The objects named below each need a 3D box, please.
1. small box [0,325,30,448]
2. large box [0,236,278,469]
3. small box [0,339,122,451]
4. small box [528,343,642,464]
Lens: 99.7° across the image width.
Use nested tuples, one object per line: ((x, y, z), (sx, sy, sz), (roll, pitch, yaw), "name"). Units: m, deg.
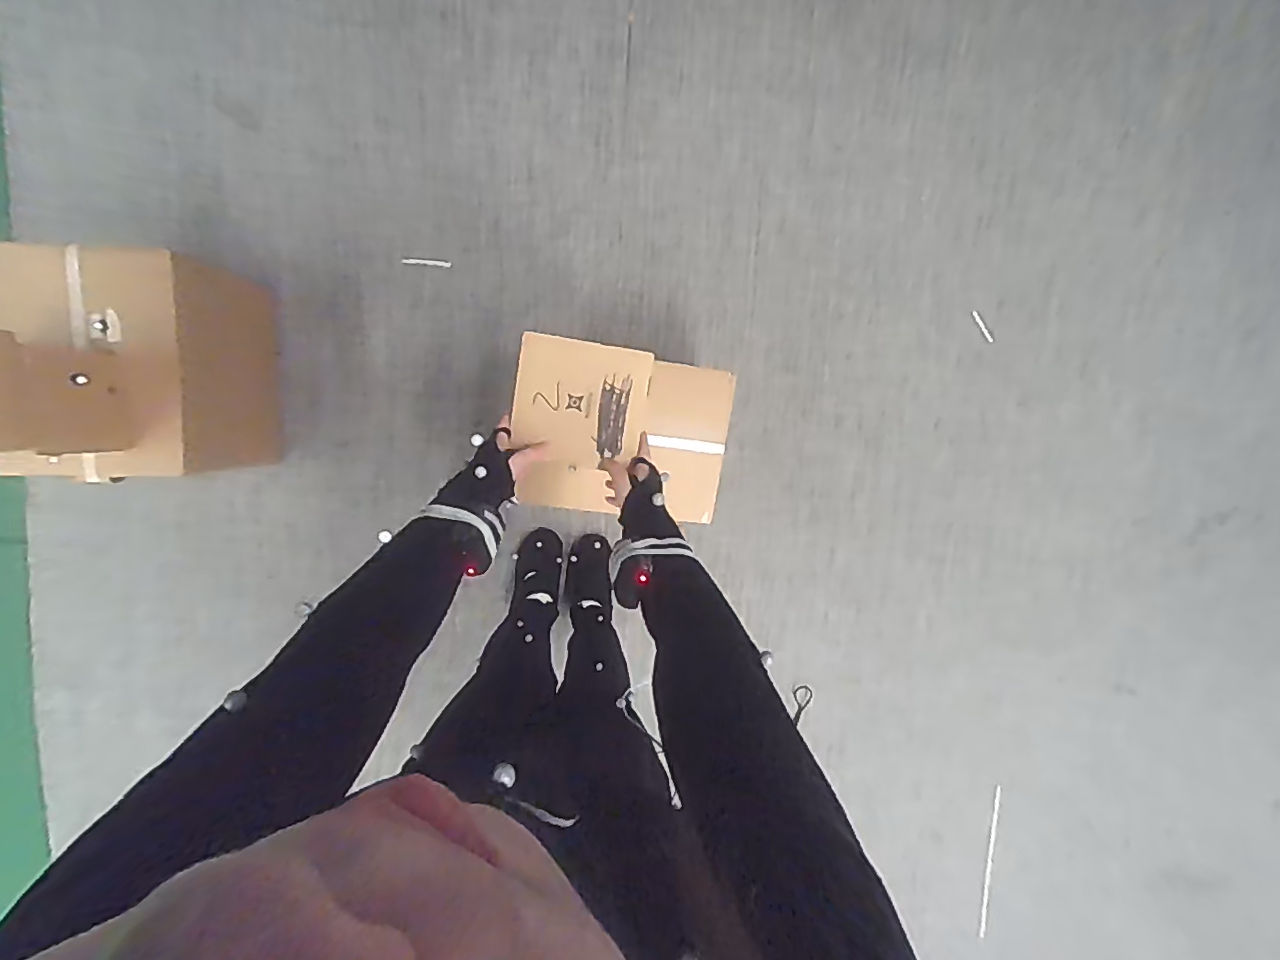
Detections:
((-0.965, -0.123, 0.700), (0.168, 0.176, 0.179), (-4, 96, -6), "small box")
((-0.987, -0.231, 1.098), (0.320, 0.320, 0.408), (1, 95, -6), "large box")
((-0.982, -0.134, 0.863), (0.179, 0.176, 0.168), (0, 96, -5), "small box")
((-0.096, -0.129, 0.954), (0.168, 0.176, 0.179), (8, 94, -7), "small box")
